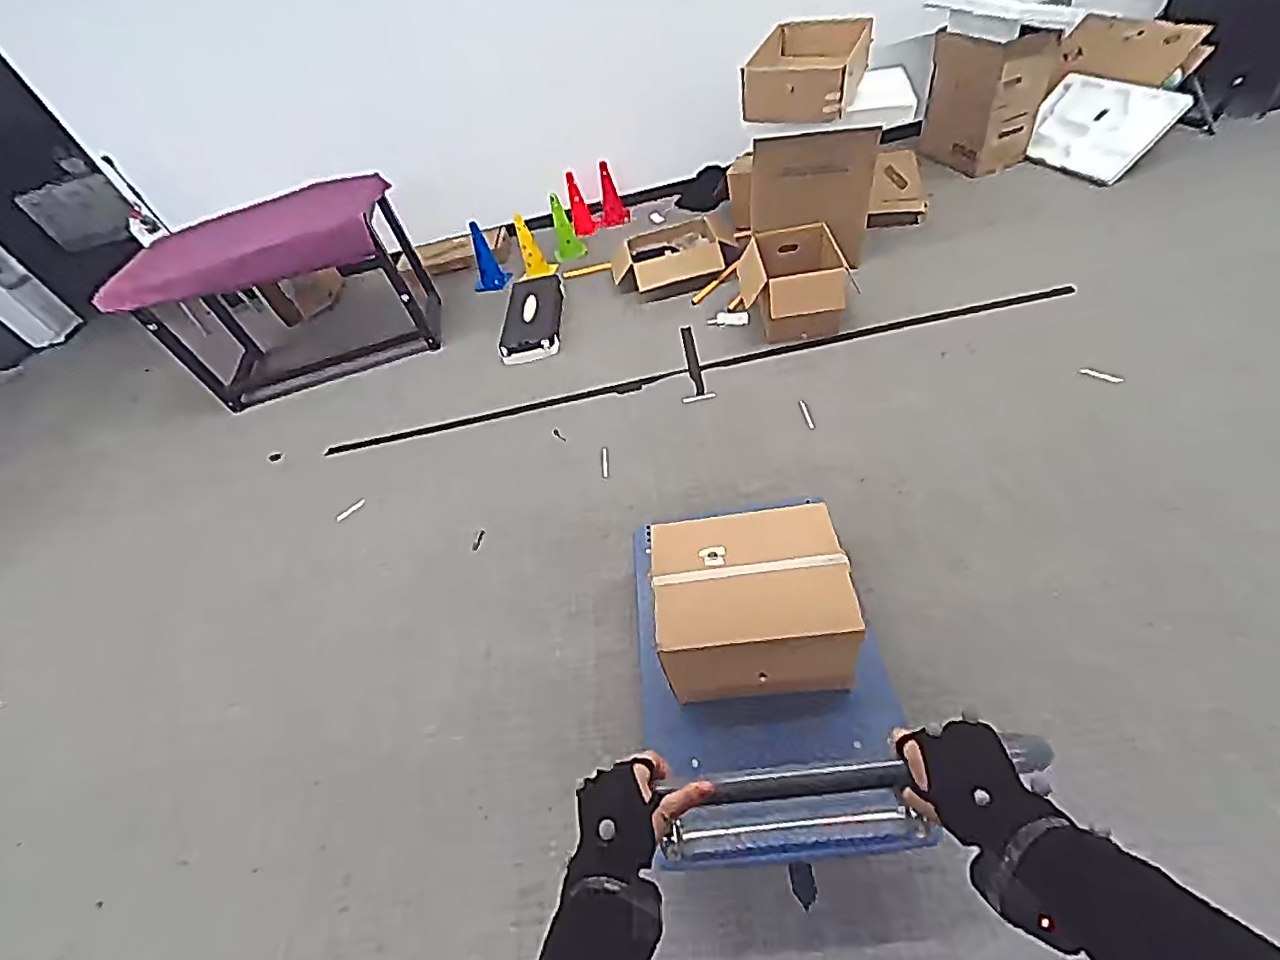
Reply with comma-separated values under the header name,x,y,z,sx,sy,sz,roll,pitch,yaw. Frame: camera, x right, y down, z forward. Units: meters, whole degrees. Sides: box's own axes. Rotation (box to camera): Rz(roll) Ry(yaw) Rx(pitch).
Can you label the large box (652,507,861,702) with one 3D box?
name,x,y,z,sx,sy,sz,roll,pitch,yaw
large box,0.259,0.301,1.271,0.408,0.320,0.320,-9,47,8
